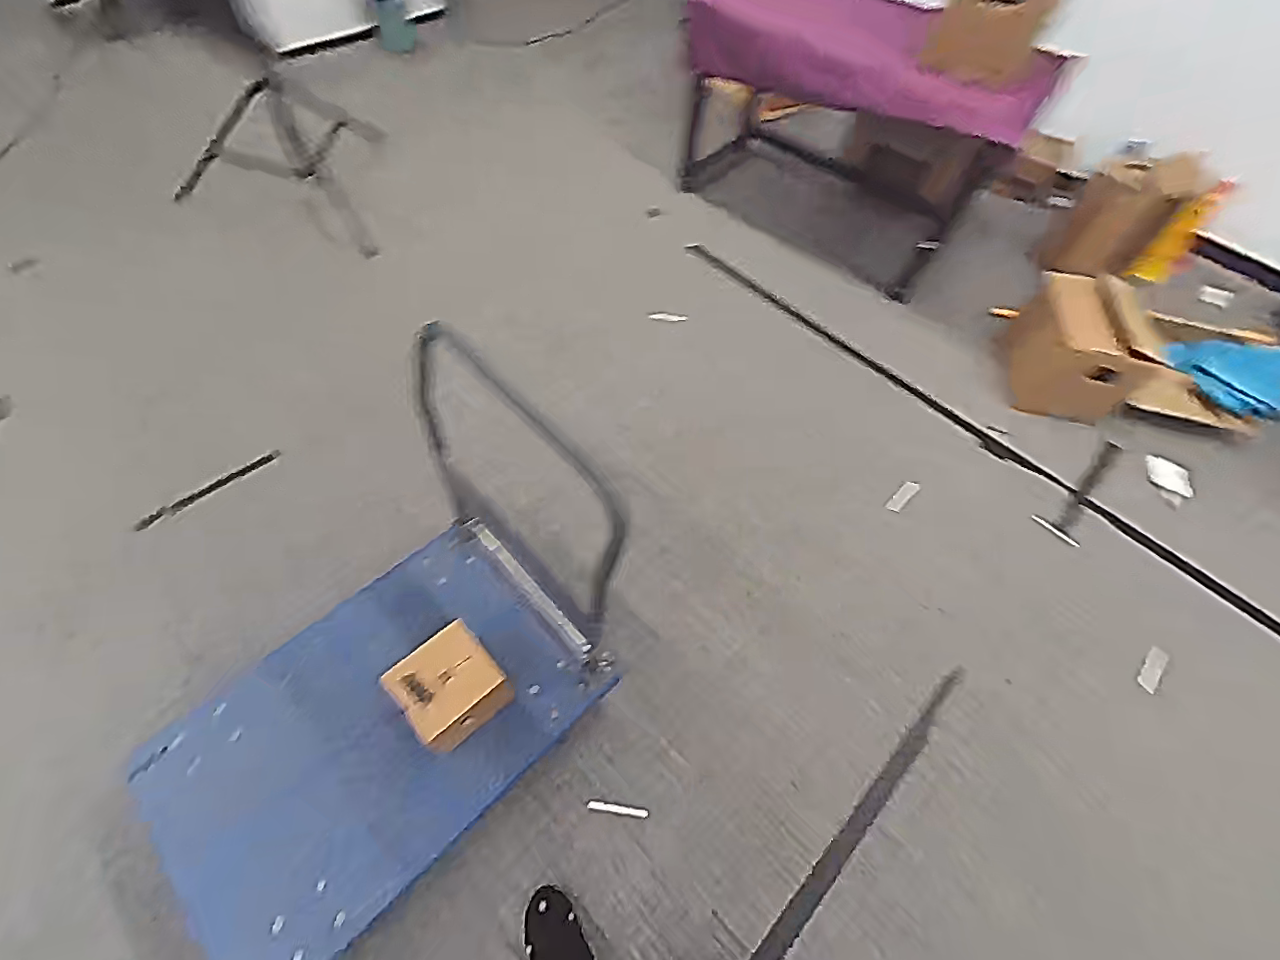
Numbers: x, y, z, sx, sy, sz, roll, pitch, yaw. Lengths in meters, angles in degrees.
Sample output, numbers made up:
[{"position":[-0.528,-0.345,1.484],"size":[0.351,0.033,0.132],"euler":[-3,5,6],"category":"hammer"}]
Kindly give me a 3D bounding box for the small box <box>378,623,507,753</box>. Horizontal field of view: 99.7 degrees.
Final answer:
[{"position":[-0.399,0.436,1.122],"size":[0.179,0.176,0.168],"euler":[-37,67,-25],"category":"small box"}]
